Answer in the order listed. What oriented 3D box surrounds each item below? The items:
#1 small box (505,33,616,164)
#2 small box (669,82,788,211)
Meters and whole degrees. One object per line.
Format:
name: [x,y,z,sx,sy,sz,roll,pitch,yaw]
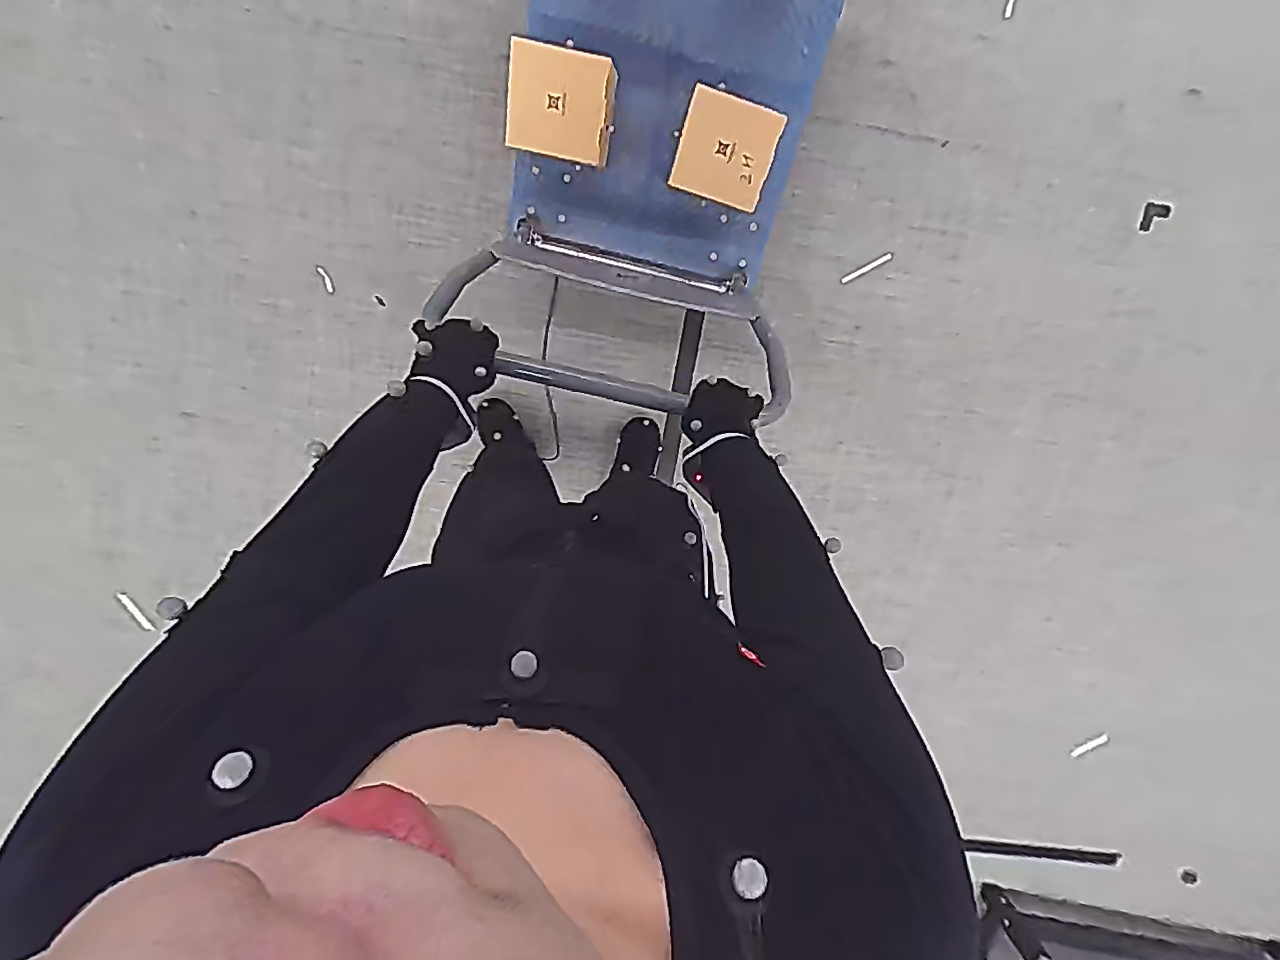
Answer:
small box: [-0.146,-0.713,1.031,0.179,0.176,0.168,9,118,-5]
small box: [0.162,-0.643,1.059,0.179,0.176,0.168,16,118,-7]
